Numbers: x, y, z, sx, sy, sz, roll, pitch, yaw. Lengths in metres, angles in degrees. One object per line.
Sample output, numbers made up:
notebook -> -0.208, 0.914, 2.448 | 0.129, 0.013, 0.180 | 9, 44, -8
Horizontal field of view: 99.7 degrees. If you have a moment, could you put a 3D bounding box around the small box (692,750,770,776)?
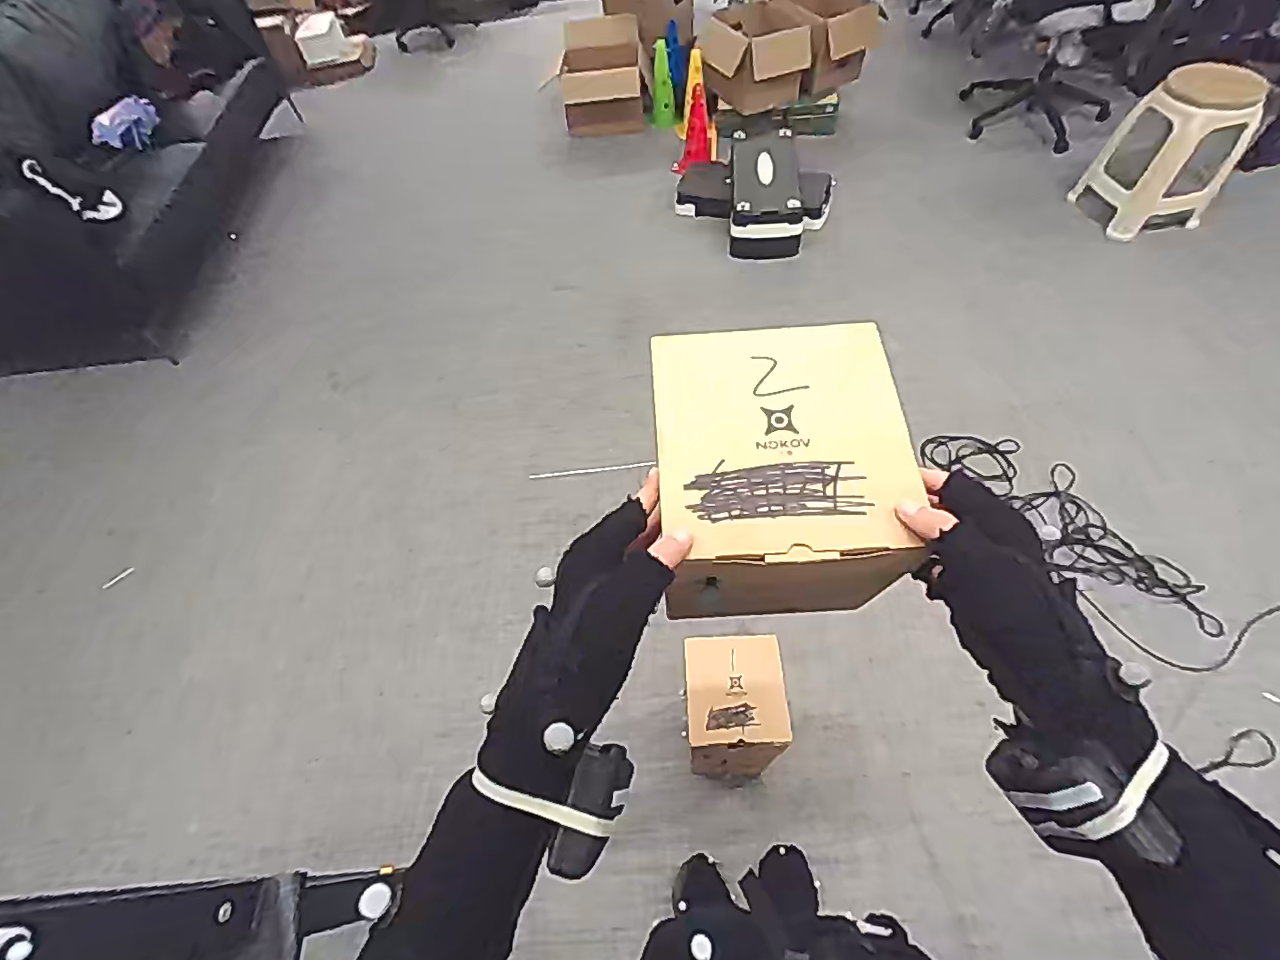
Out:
small box -> 0.203, 0.575, 1.248 | 0.168, 0.176, 0.179 | -2, 57, 6

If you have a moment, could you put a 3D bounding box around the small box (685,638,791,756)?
small box -> 0.169, 0.397, 0.977 | 0.168, 0.176, 0.179 | -3, 57, 4
